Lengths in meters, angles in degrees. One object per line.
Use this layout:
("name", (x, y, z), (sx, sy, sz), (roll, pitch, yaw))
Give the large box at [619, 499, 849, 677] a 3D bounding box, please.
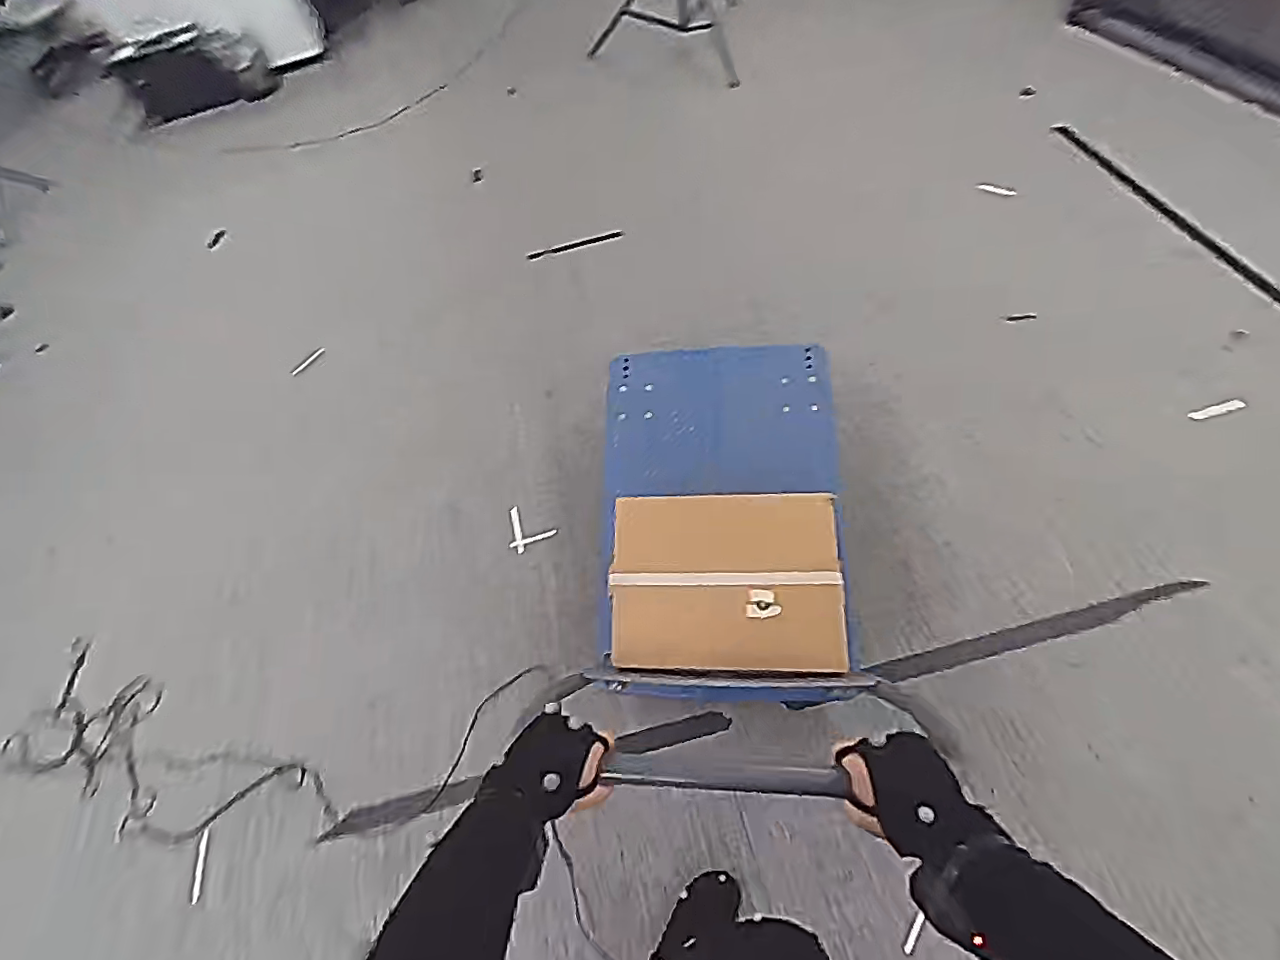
("large box", (0.176, 0.236, 1.124), (0.408, 0.320, 0.320), (-2, 73, 7))
